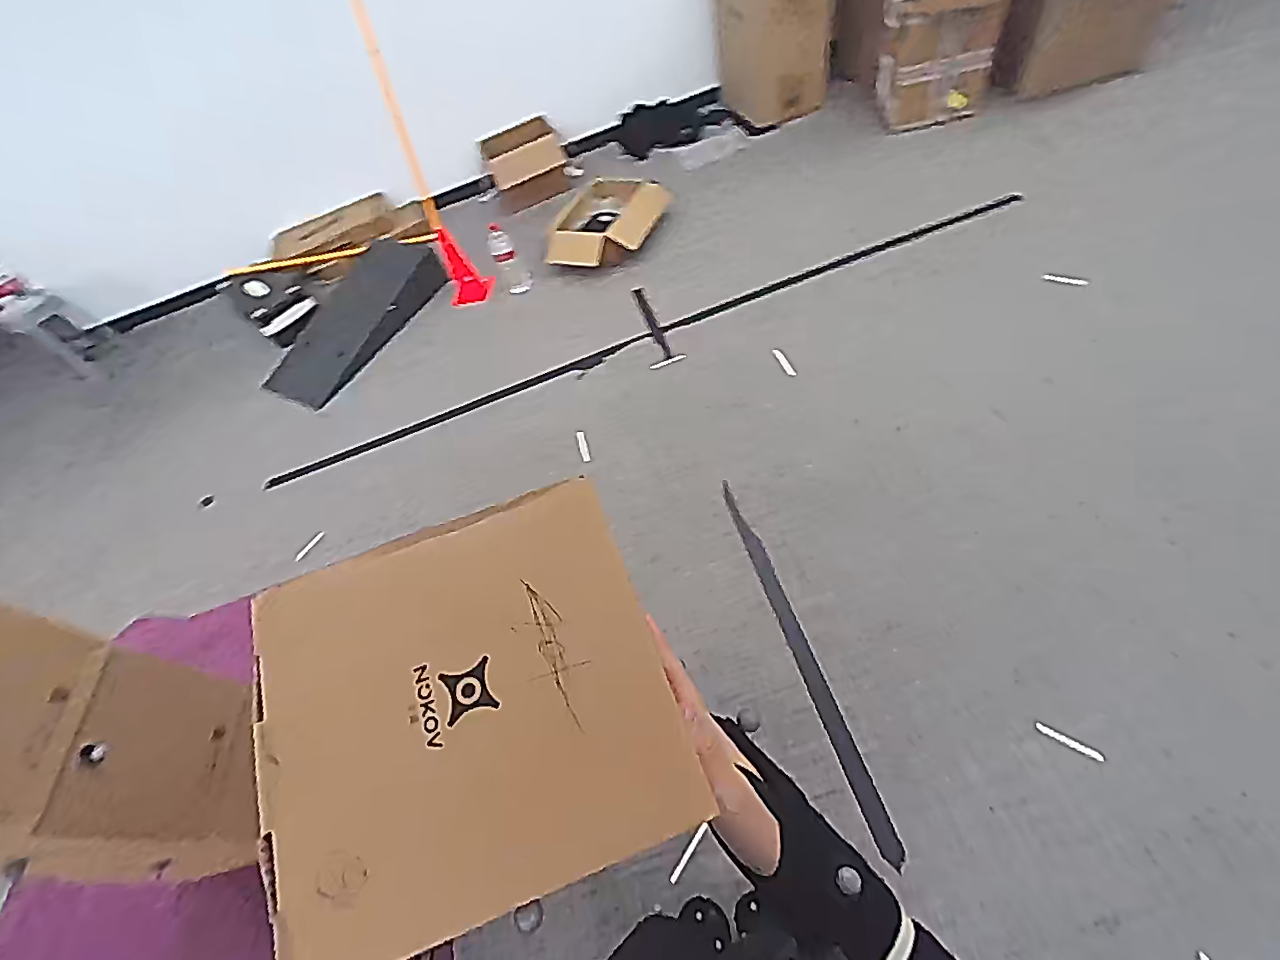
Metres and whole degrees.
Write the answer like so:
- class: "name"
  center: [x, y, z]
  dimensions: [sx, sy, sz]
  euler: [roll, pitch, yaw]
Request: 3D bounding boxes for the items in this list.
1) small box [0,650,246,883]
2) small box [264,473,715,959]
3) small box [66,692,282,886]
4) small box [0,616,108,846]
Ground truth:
- class: "small box"
  center: [-0.565, 0.300, 0.555]
  dimensions: [0.179, 0.176, 0.168]
  euler: [-17, 53, 5]
- class: "small box"
  center: [-0.071, 0.127, 0.311]
  dimensions: [0.179, 0.176, 0.168]
  euler: [-20, 66, -6]
- class: "small box"
  center: [-0.532, 0.394, 0.685]
  dimensions: [0.179, 0.176, 0.168]
  euler: [-18, 53, 3]
- class: "small box"
  center: [-0.597, 0.205, 0.426]
  dimensions: [0.179, 0.176, 0.168]
  euler: [-17, 53, 4]
